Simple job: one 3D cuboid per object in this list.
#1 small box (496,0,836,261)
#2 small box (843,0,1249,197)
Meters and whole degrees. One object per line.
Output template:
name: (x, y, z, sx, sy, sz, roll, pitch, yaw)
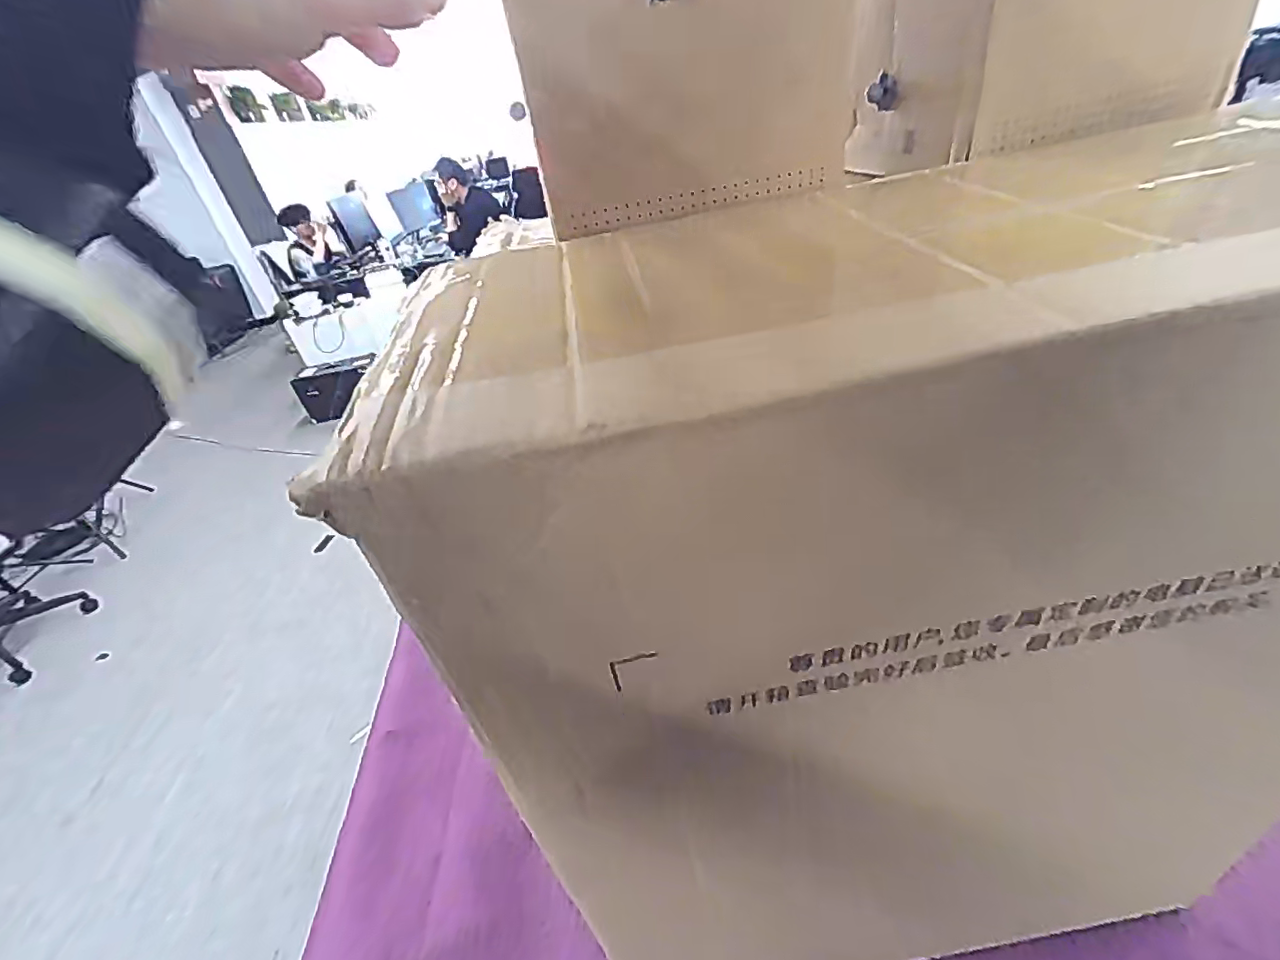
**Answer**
small box: (0.014, -0.250, 0.343, 0.179, 0.176, 0.168, -10, 36, -1)
small box: (0.252, -0.306, 0.358, 0.179, 0.176, 0.168, -16, 35, -3)
